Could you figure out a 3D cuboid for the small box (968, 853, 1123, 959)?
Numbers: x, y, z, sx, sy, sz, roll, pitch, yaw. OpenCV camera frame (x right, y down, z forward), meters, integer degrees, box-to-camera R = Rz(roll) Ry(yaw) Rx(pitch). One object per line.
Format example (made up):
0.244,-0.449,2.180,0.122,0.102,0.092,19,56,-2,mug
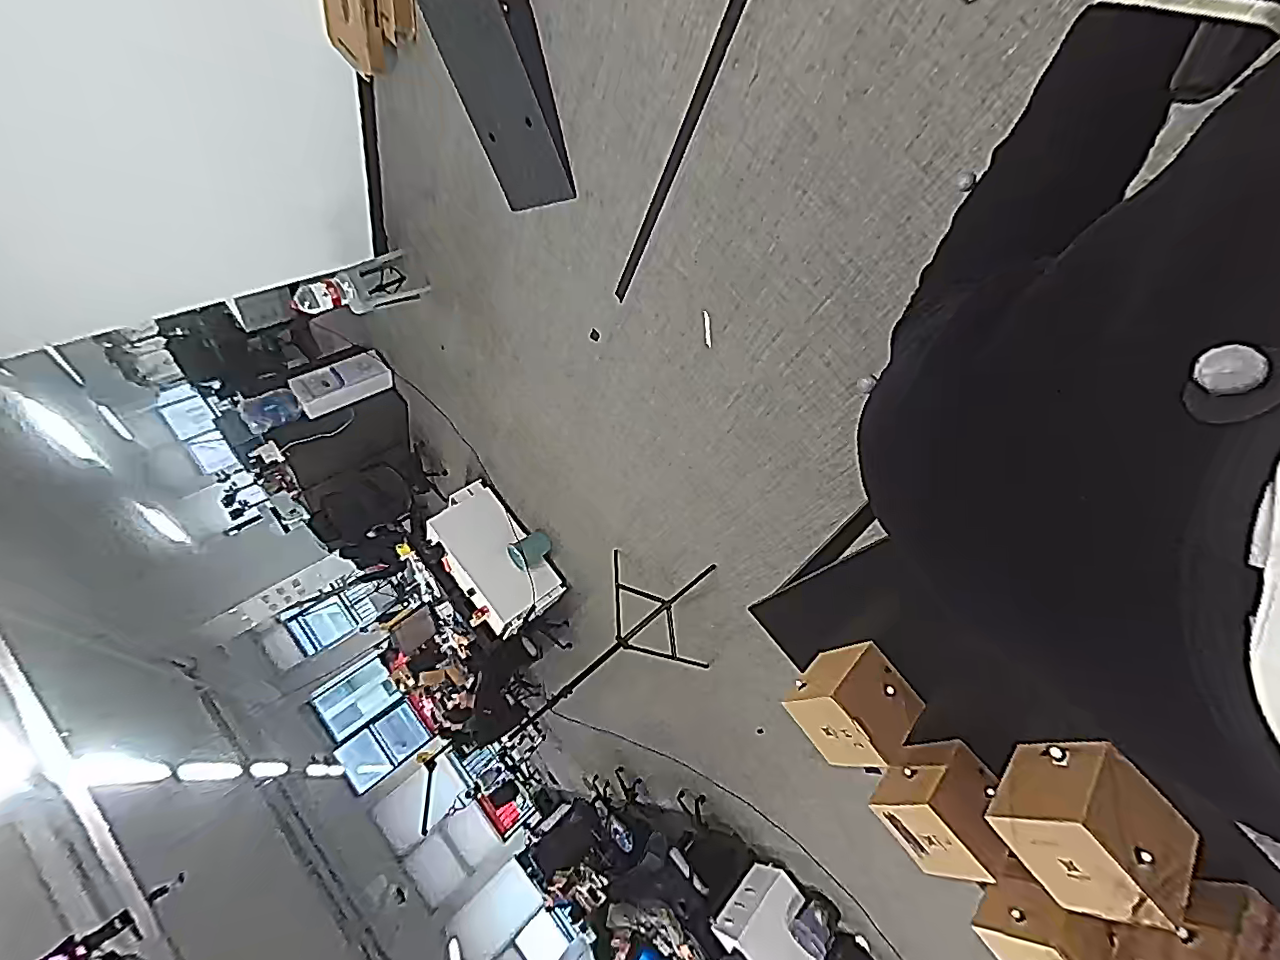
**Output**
0.784,0.855,1.029,0.168,0.176,0.179,51,147,8,small box

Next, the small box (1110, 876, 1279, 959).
0.865,0.727,0.804,0.168,0.176,0.179,47,147,15,small box

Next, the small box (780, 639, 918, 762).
0.437,0.459,1.135,0.168,0.176,0.179,51,148,7,small box

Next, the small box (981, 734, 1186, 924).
0.700,0.536,0.855,0.179,0.176,0.168,50,147,11,small box
